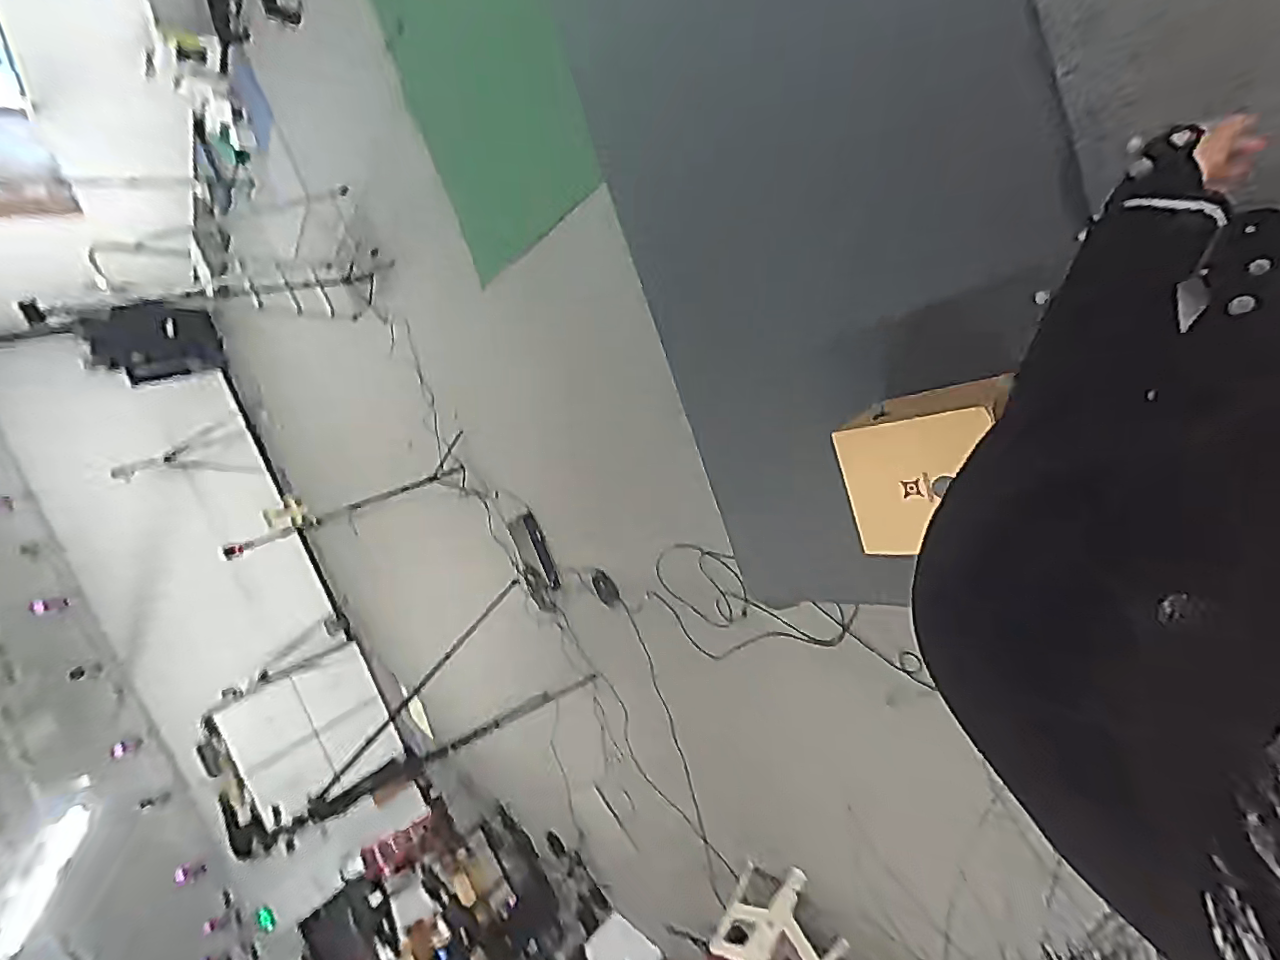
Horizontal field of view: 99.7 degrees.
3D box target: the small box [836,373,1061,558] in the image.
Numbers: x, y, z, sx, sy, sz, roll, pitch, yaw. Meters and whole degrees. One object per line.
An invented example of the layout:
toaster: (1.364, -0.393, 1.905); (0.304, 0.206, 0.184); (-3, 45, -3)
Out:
small box: (0.372, -0.016, 0.650); (0.179, 0.176, 0.168); (-11, 102, 48)
